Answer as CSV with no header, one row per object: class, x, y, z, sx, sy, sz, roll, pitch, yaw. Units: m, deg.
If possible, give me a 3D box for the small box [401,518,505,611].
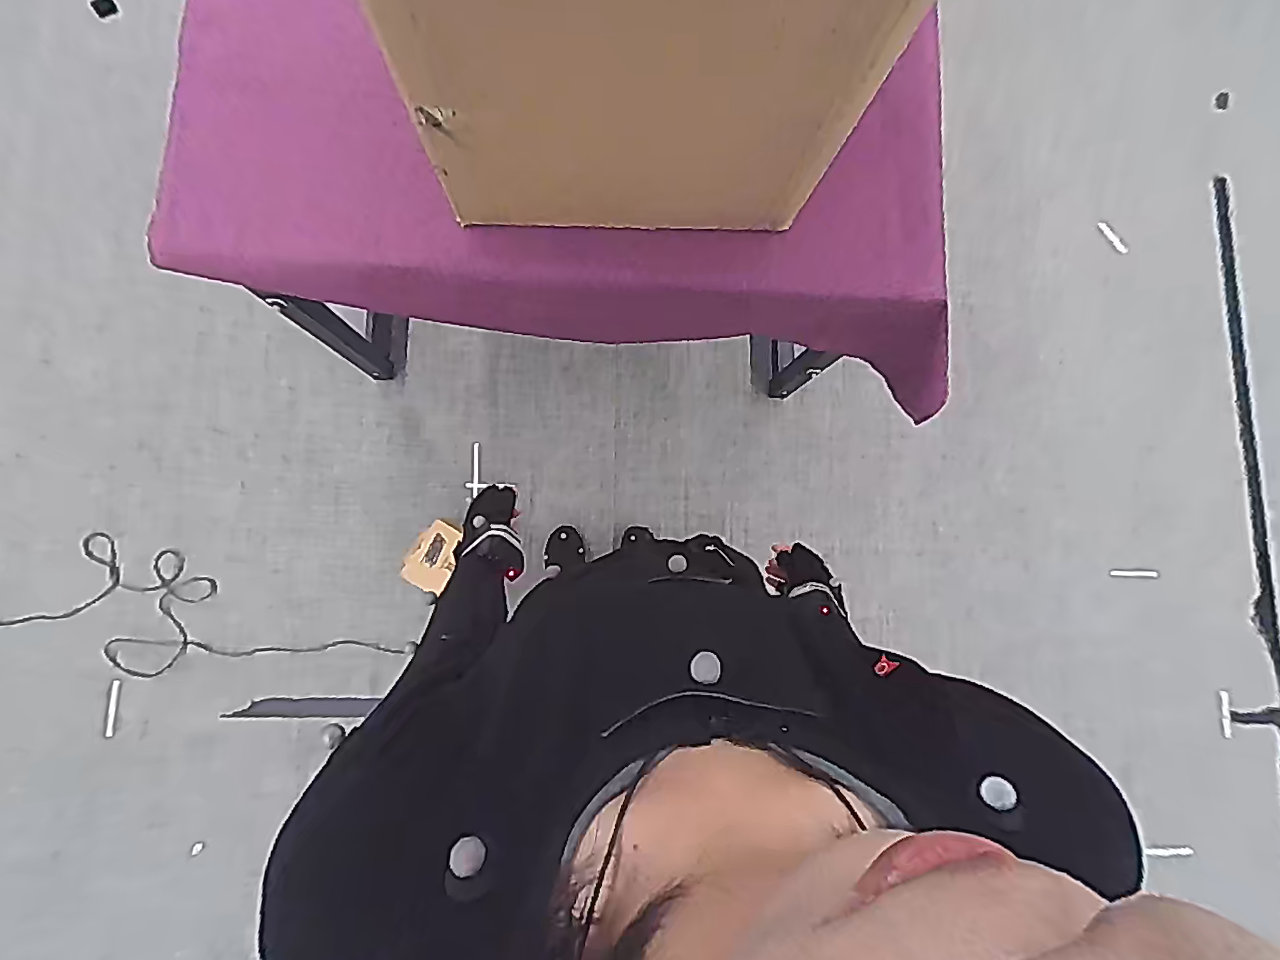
small box,-0.472,0.216,1.395,0.179,0.176,0.168,32,82,-2
